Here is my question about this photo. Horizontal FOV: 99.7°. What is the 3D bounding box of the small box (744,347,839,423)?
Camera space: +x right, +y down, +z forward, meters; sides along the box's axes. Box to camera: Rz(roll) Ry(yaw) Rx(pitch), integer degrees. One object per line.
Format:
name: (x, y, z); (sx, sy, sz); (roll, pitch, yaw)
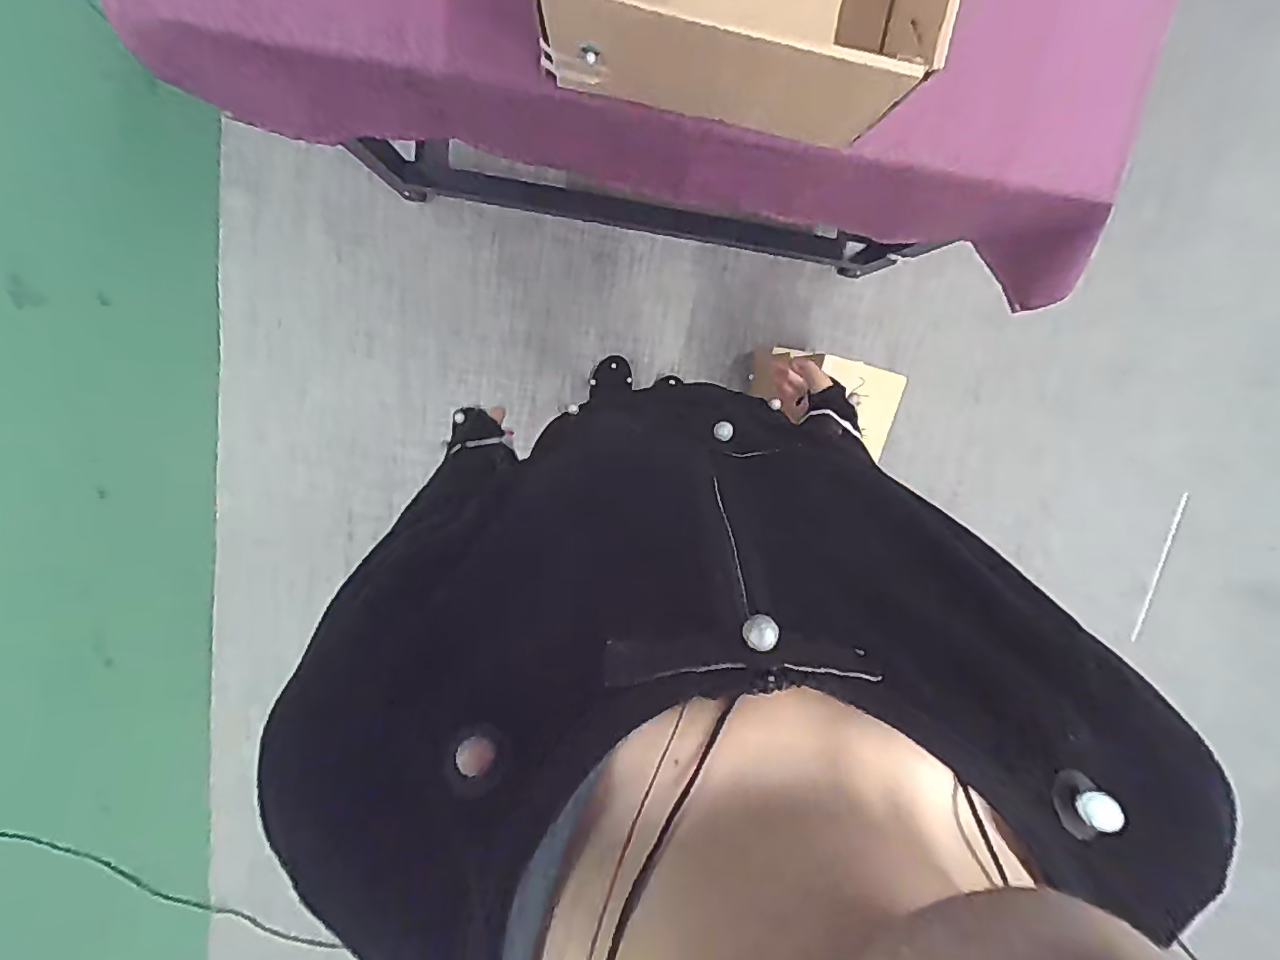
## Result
small box: (0.385, -0.249, 1.403); (0.179, 0.176, 0.168); (7, 101, -4)
